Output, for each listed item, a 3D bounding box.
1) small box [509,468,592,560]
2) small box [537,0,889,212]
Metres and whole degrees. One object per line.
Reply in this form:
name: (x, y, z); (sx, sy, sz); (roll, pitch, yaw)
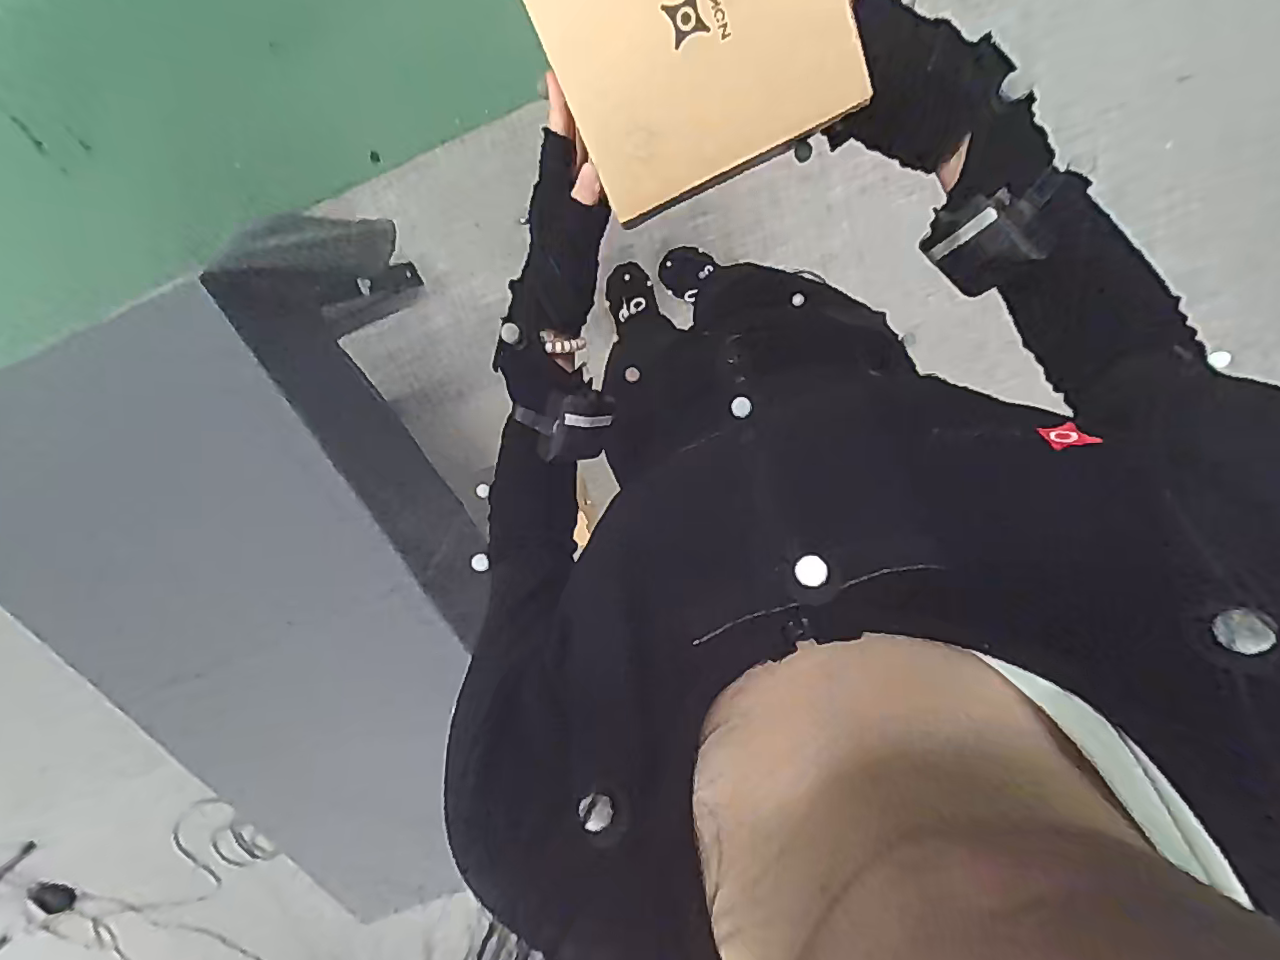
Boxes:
small box: (-0.240, 0.088, 1.494); (0.179, 0.176, 0.168); (-17, 115, 5)
small box: (0.034, -0.304, 0.372); (0.179, 0.176, 0.168); (-23, 112, 7)
